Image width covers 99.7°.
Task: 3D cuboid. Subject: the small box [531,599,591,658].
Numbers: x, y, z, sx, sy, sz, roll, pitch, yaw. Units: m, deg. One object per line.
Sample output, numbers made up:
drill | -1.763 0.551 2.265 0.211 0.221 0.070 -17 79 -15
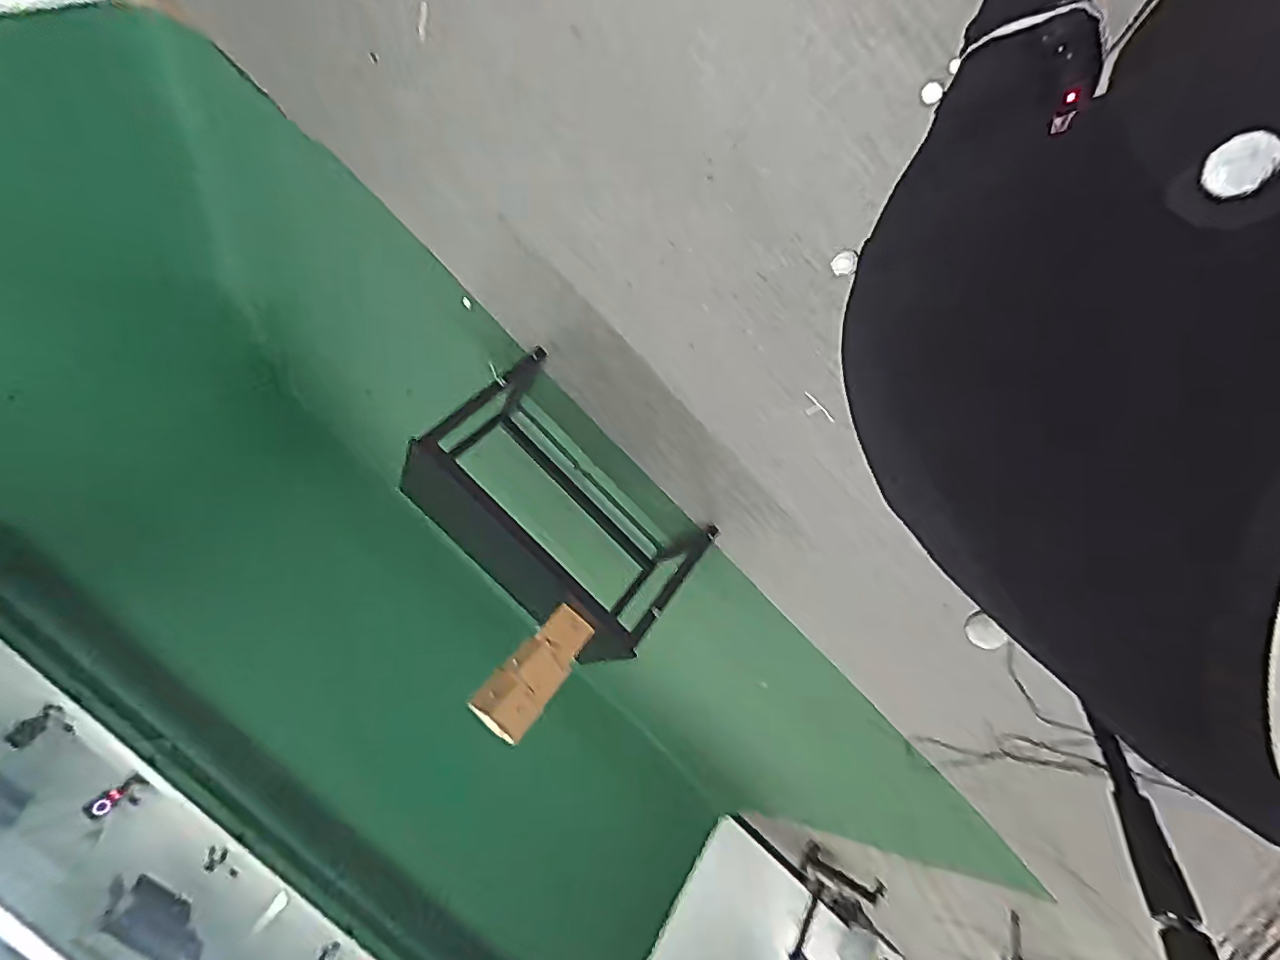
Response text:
small box | -0.325 0.615 2.218 0.168 0.176 0.179 41 146 1

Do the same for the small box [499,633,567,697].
small box | -0.414 0.721 2.129 0.179 0.176 0.168 -14 118 52

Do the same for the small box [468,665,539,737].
small box | -0.507 0.828 2.046 0.179 0.176 0.168 -2 127 45
